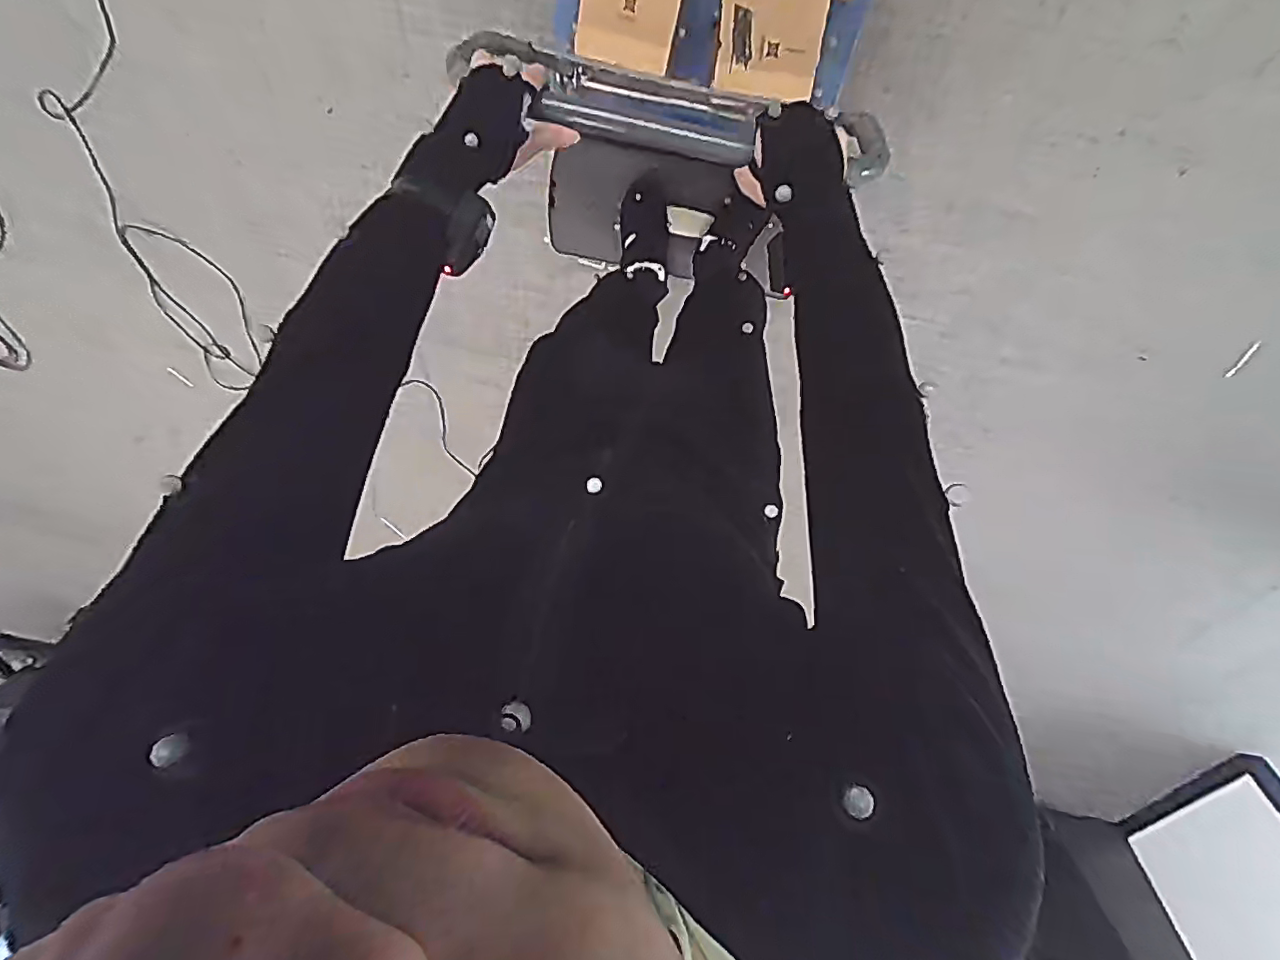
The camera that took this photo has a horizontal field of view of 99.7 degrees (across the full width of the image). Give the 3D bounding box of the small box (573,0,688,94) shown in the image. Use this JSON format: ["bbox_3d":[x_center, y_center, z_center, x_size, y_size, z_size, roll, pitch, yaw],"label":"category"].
[{"bbox_3d":[-0.012,-0.822,0.972,0.168,0.176,0.179,15,127,-3],"label":"small box"}]
